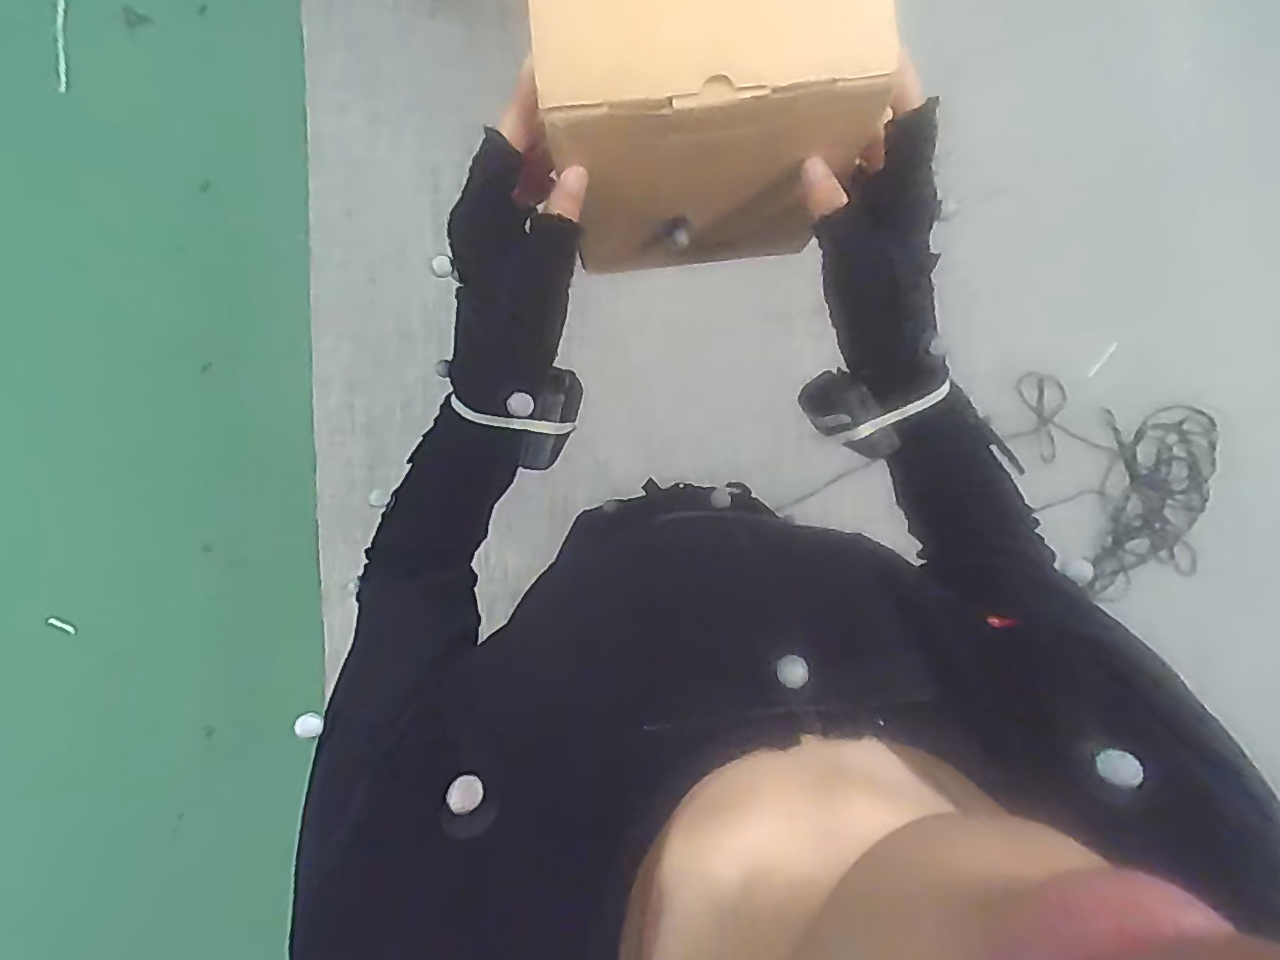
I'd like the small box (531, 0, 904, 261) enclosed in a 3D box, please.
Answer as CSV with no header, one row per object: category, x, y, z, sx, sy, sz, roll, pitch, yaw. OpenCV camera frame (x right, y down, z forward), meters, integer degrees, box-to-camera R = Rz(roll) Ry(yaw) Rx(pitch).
small box,0.029,-0.258,0.323,0.168,0.176,0.179,-5,87,1
